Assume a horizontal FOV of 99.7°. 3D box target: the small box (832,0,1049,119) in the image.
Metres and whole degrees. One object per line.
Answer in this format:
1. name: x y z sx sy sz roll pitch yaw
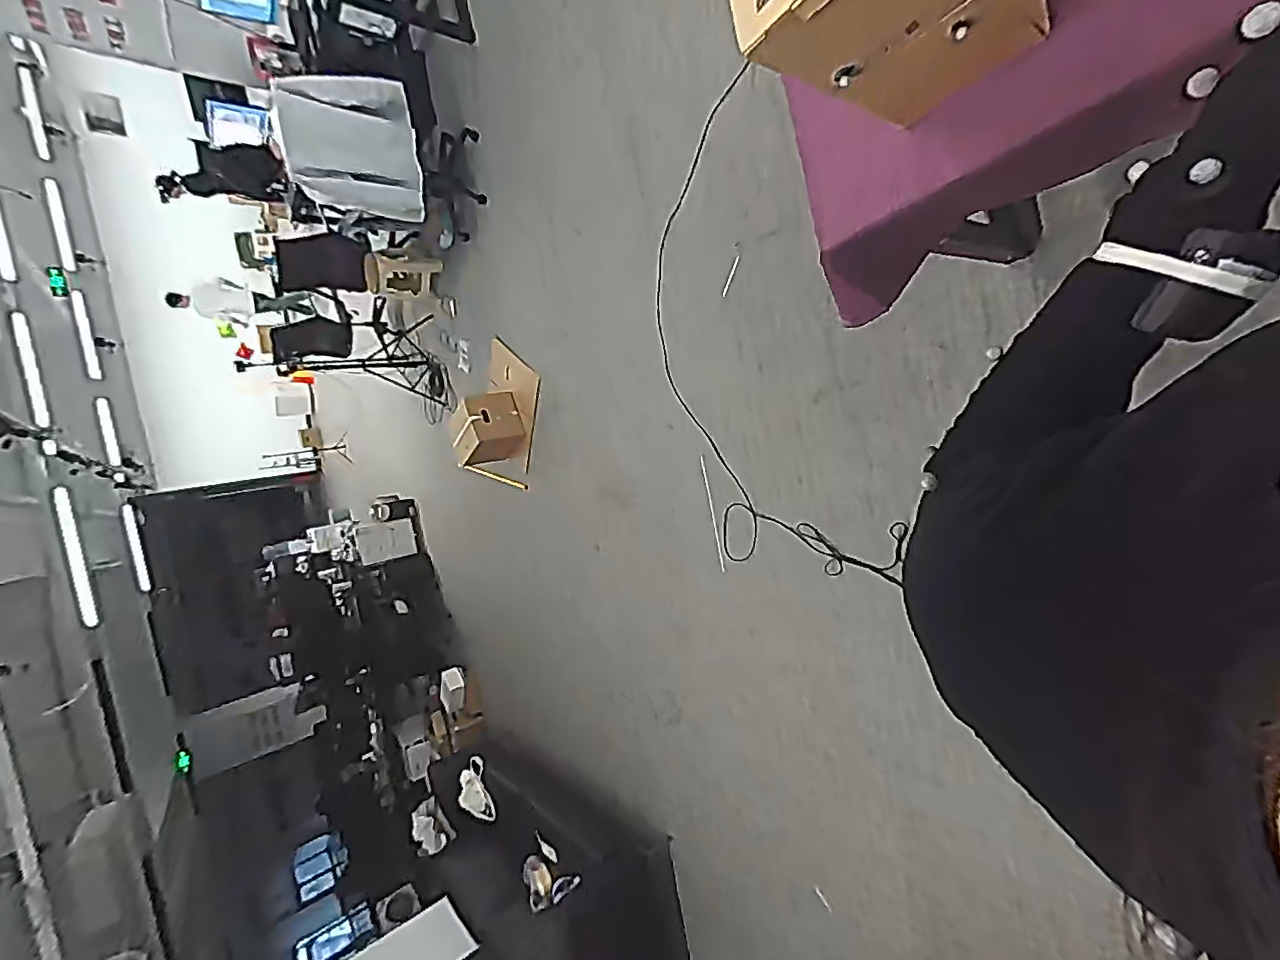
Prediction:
1. small box: 0.336 -0.565 0.631 0.179 0.176 0.168 -9 93 53

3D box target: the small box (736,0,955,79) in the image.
1. small box: 0.205 -0.541 0.534 0.168 0.176 0.179 -10 91 53
